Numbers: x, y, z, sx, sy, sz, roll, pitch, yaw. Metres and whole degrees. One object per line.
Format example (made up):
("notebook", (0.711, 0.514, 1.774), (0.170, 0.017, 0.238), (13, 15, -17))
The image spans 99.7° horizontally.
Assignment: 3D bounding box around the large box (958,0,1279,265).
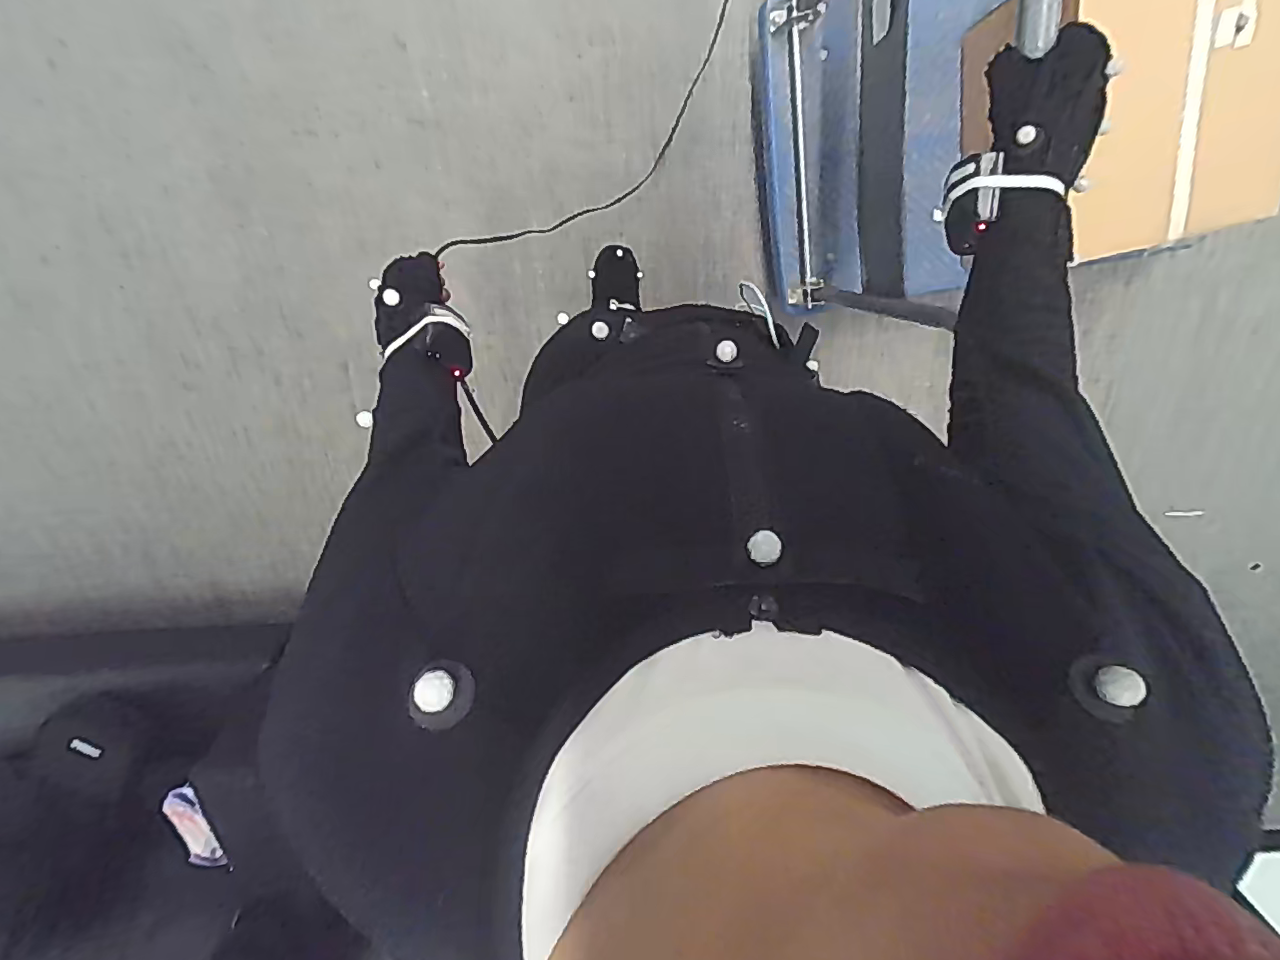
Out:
("large box", (0.769, -0.609, 0.905), (0.320, 0.320, 0.408), (-12, 112, 6))
